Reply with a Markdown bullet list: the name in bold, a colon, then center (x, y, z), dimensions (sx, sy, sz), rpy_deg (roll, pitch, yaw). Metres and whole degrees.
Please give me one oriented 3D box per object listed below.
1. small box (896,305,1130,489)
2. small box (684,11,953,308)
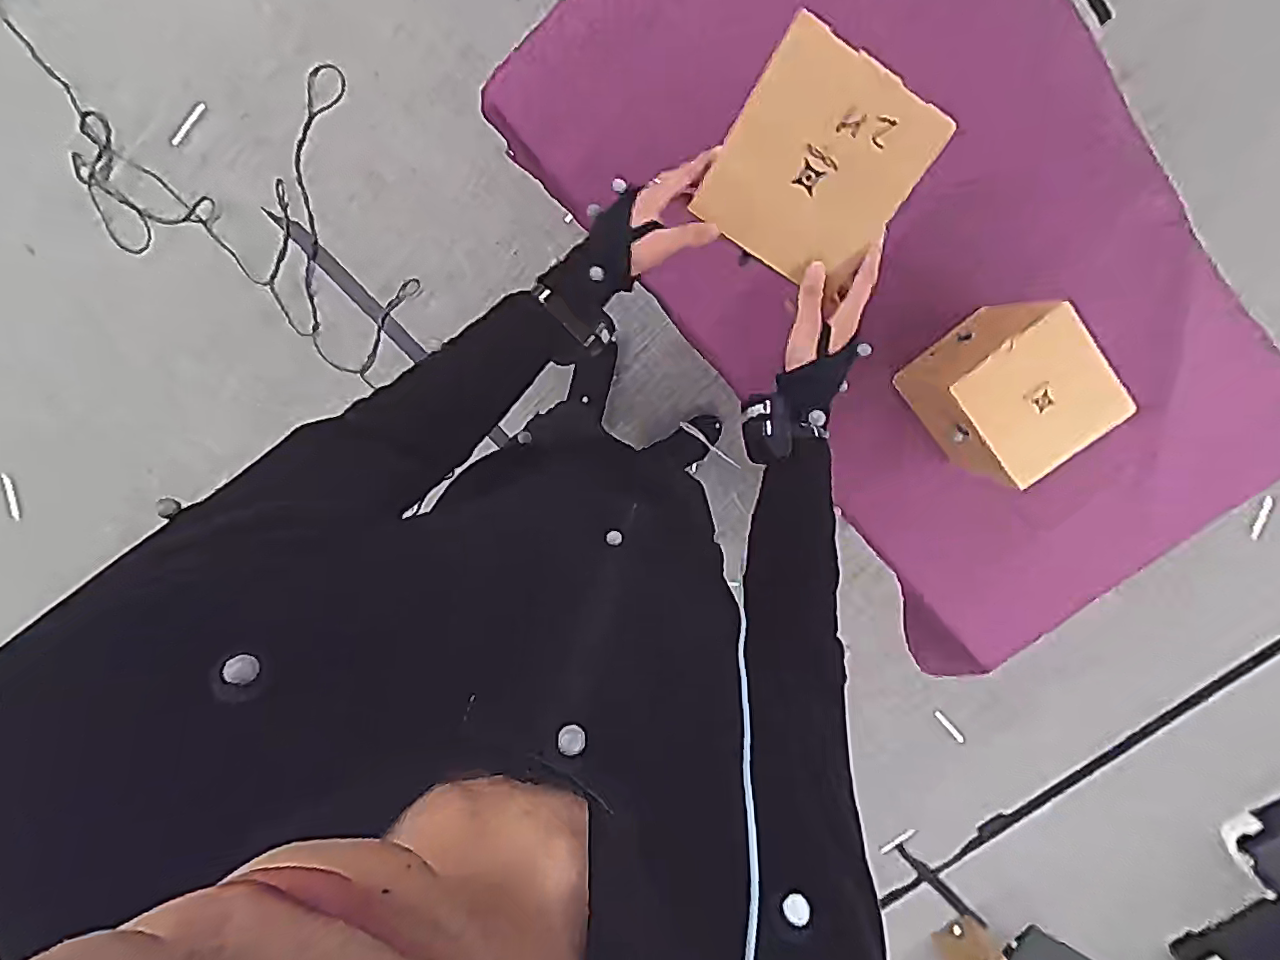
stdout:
- **small box**: center (0.499, -0.120, 0.750), dimensions (0.168, 0.176, 0.179), rpy_deg (-39, 99, 11)
- **small box**: center (0.164, -0.305, 0.550), dimensions (0.168, 0.176, 0.179), rpy_deg (31, 115, -7)
